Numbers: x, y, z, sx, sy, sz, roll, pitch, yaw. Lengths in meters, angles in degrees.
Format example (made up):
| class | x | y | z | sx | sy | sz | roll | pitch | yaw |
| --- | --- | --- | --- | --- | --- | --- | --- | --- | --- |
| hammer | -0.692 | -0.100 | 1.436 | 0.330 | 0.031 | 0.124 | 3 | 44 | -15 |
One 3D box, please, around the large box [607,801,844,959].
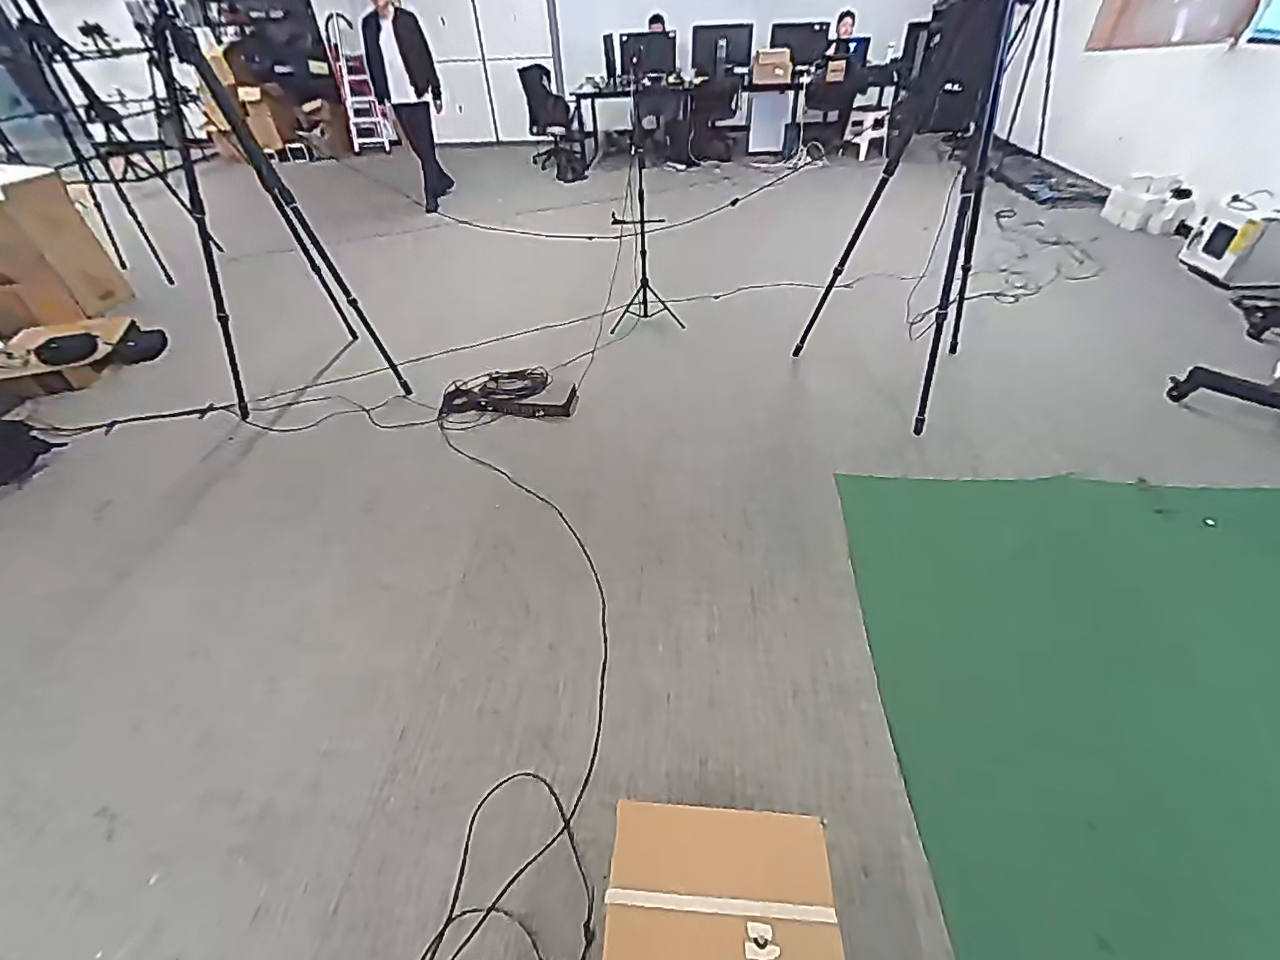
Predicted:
| class | x | y | z | sx | sy | sz | roll | pitch | yaw |
| --- | --- | --- | --- | --- | --- | --- | --- | --- | --- |
| large box | 0.150 | 0.865 | 1.055 | 0.408 | 0.320 | 0.320 | 2 | 42 | 4 |
